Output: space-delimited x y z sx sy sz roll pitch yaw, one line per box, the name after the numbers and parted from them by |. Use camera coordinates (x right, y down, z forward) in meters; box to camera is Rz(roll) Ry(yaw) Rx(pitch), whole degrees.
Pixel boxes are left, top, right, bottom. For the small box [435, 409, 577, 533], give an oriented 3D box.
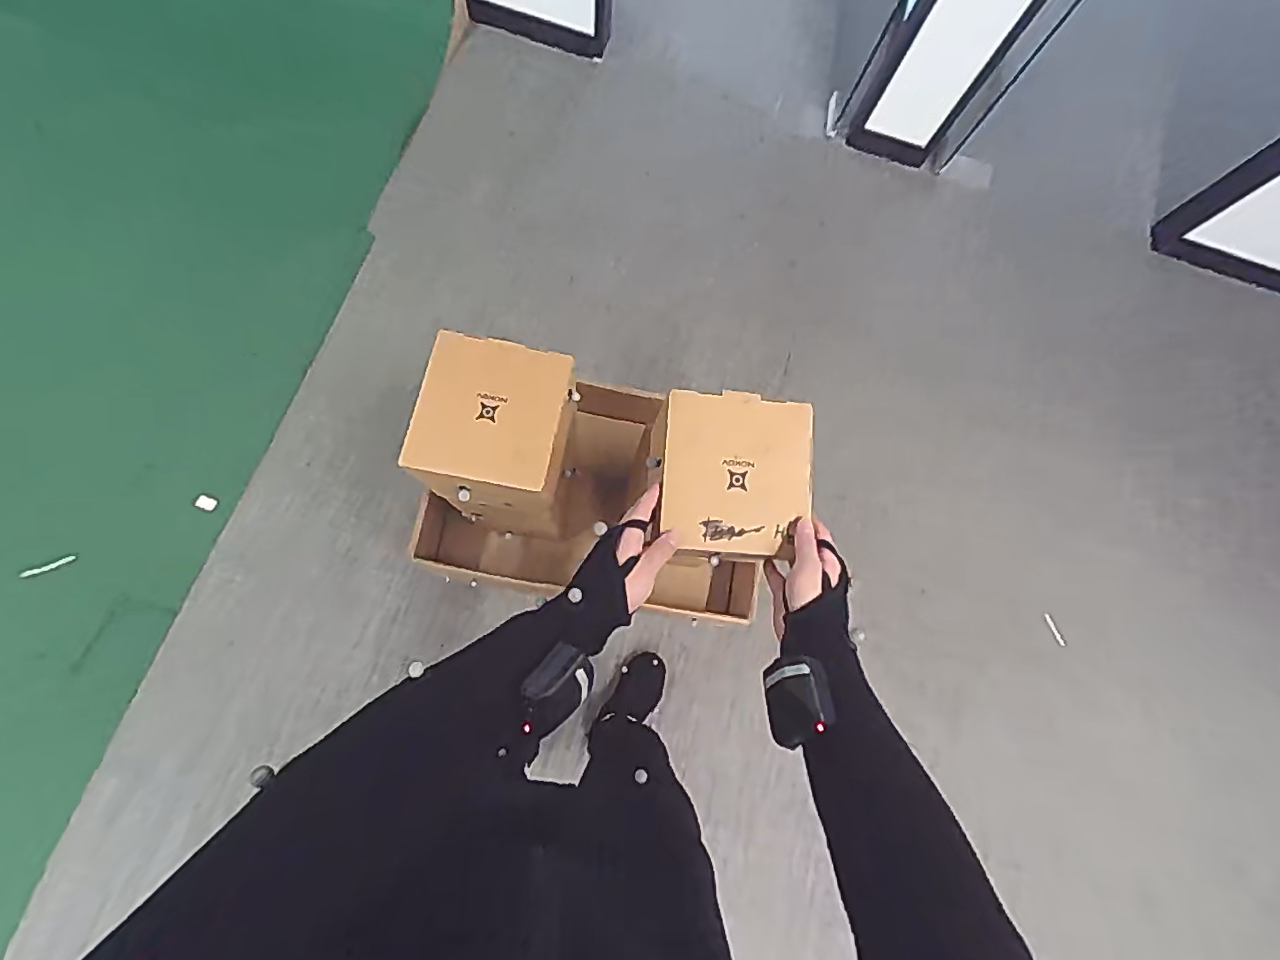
-0.196 -0.025 0.851 0.168 0.176 0.179 13 74 -2 | small box

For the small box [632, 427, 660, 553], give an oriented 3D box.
0.080 0.031 0.865 0.168 0.176 0.179 6 76 -5 | small box

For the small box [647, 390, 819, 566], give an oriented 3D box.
0.102 0.009 0.655 0.168 0.176 0.179 6 80 -5 | small box

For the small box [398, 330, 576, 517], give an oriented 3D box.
-0.179 -0.060 0.694 0.168 0.176 0.179 11 74 -2 | small box
